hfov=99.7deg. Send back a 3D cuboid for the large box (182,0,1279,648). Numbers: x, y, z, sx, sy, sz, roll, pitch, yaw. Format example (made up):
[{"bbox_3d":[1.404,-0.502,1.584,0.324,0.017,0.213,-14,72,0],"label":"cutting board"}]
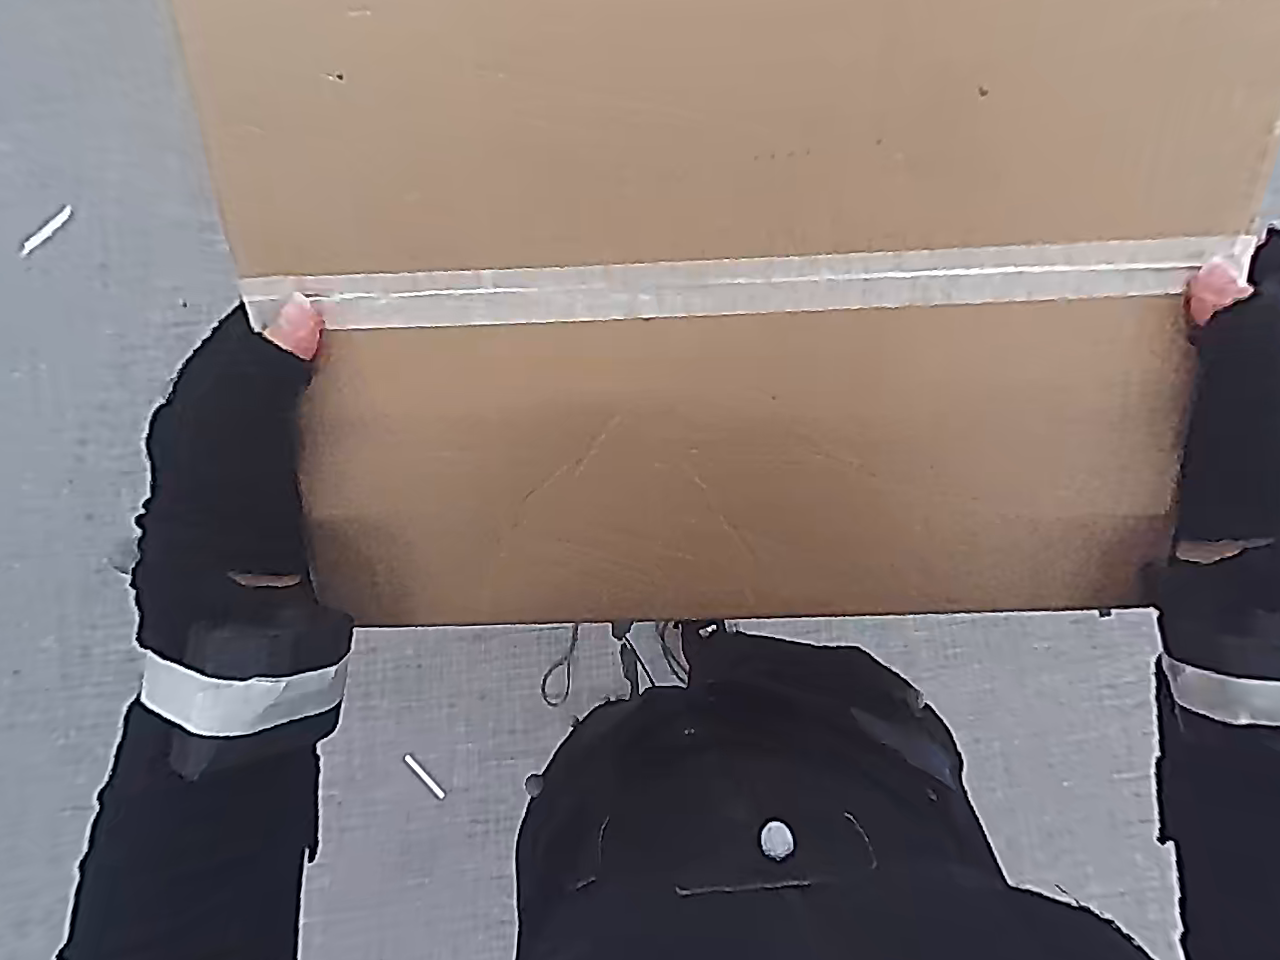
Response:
[{"bbox_3d":[0.039,-0.112,0.375,0.408,0.320,0.320,-2,108,1],"label":"large box"}]
